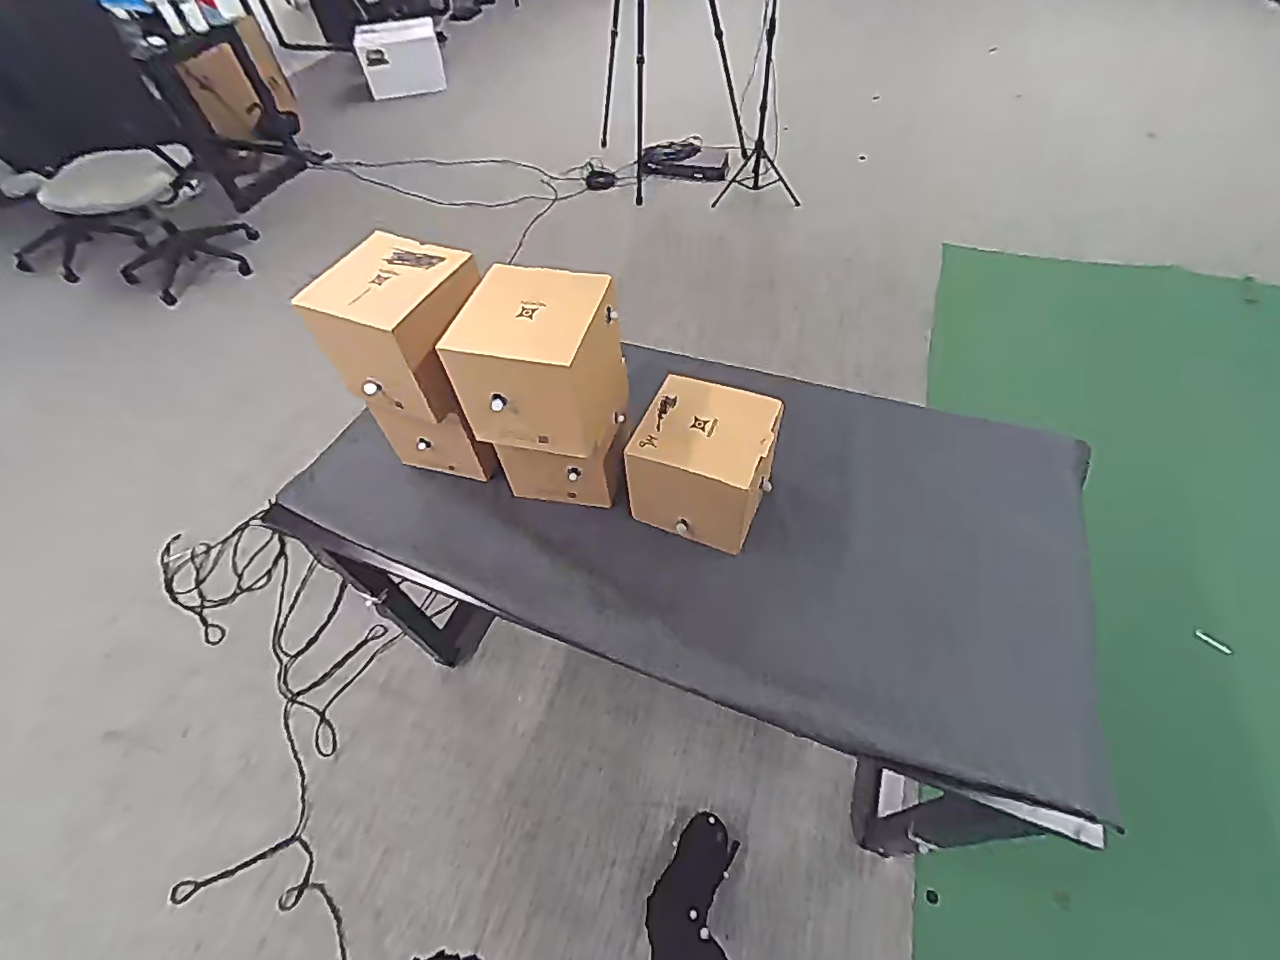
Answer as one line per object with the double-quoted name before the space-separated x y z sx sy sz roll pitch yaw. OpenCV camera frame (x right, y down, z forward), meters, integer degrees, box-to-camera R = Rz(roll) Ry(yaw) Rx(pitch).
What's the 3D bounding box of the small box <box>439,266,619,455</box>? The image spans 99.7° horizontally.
"small box" -0.128 -0.154 0.714 0.168 0.176 0.179 10 54 10
